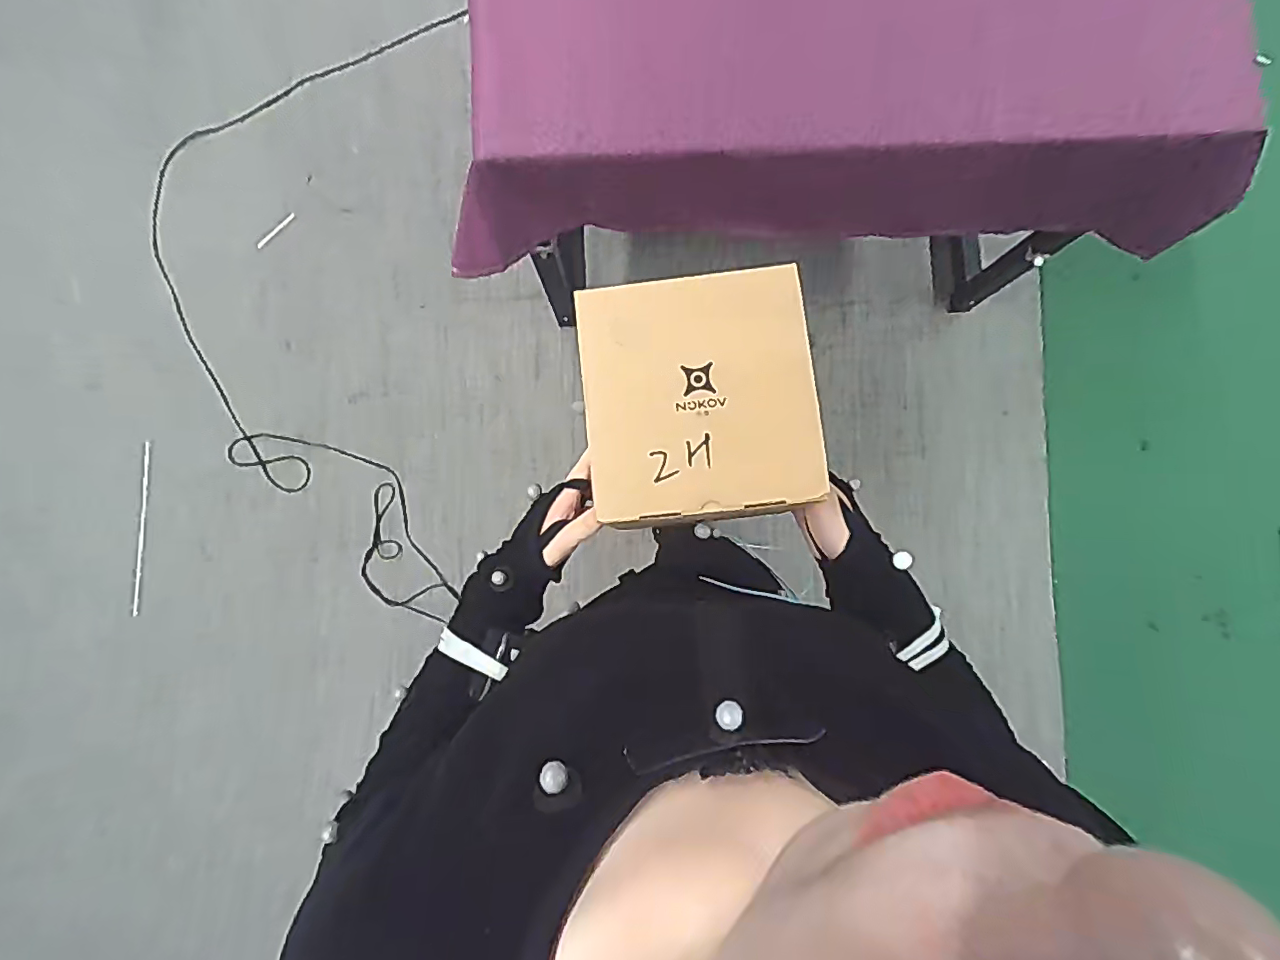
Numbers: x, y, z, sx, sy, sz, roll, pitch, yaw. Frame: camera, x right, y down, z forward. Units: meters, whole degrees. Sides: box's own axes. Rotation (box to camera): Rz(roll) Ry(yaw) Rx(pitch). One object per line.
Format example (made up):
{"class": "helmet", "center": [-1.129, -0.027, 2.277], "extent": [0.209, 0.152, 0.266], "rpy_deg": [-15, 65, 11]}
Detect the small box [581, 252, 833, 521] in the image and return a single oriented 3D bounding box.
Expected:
{"class": "small box", "center": [0.048, -0.063, 0.462], "extent": [0.168, 0.176, 0.179], "rpy_deg": [-6, 83, 3]}
